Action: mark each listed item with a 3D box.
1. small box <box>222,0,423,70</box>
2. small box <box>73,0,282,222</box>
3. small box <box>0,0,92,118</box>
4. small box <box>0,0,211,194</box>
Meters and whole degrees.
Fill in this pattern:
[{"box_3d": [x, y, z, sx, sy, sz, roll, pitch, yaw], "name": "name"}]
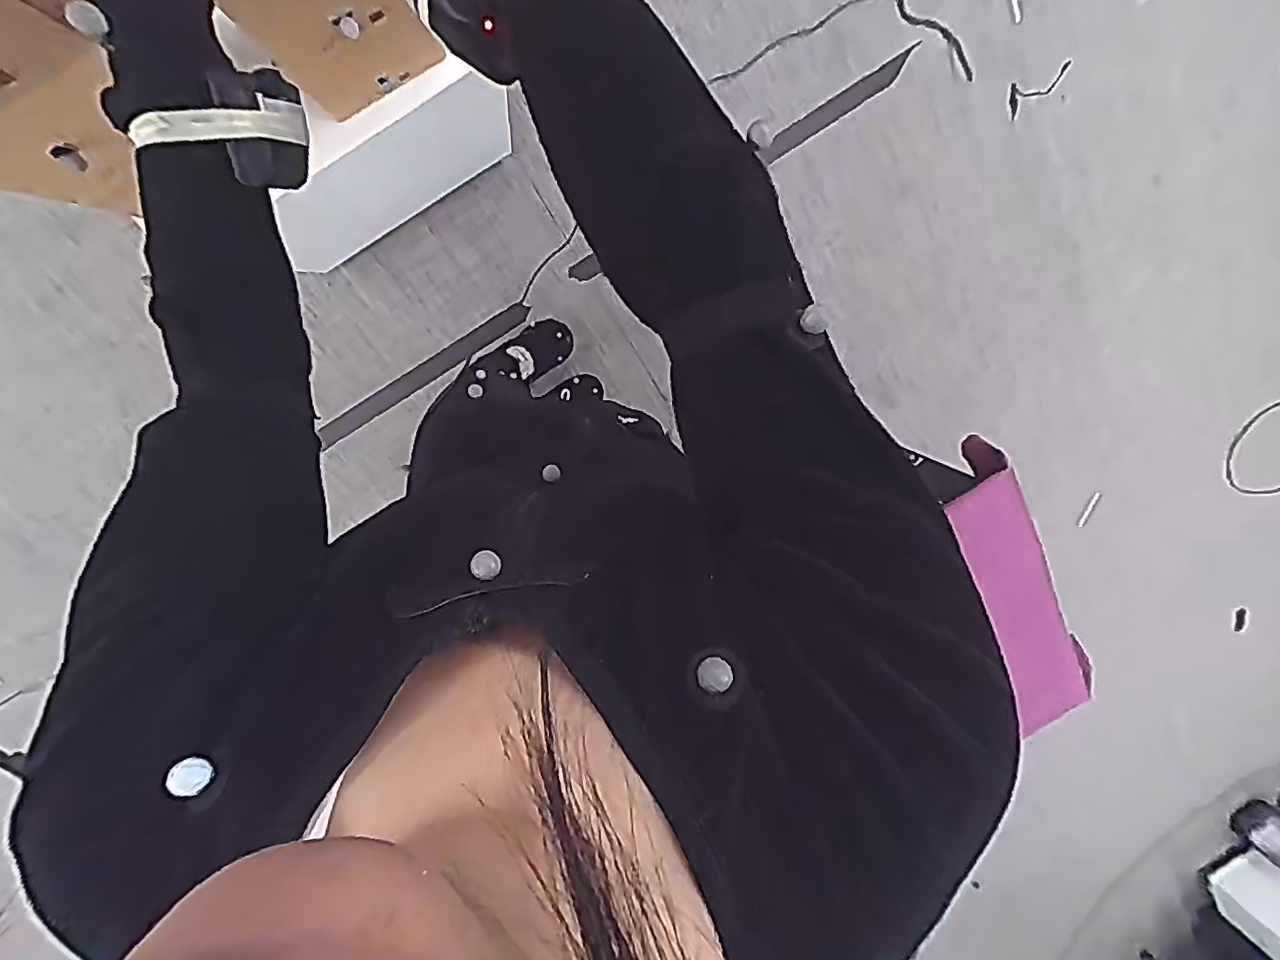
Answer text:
[{"box_3d": [-0.299, -0.485, 0.431, 0.168, 0.176, 0.179, -31, 112, 1], "name": "small box"}, {"box_3d": [-0.544, -0.409, 0.583, 0.168, 0.176, 0.179, -33, 111, 0], "name": "small box"}, {"box_3d": [-0.478, -0.307, 0.280, 0.168, 0.176, 0.179, -34, 112, 2], "name": "small box"}, {"box_3d": [-0.510, -0.356, 0.432, 0.168, 0.176, 0.179, -34, 111, 1], "name": "small box"}]
